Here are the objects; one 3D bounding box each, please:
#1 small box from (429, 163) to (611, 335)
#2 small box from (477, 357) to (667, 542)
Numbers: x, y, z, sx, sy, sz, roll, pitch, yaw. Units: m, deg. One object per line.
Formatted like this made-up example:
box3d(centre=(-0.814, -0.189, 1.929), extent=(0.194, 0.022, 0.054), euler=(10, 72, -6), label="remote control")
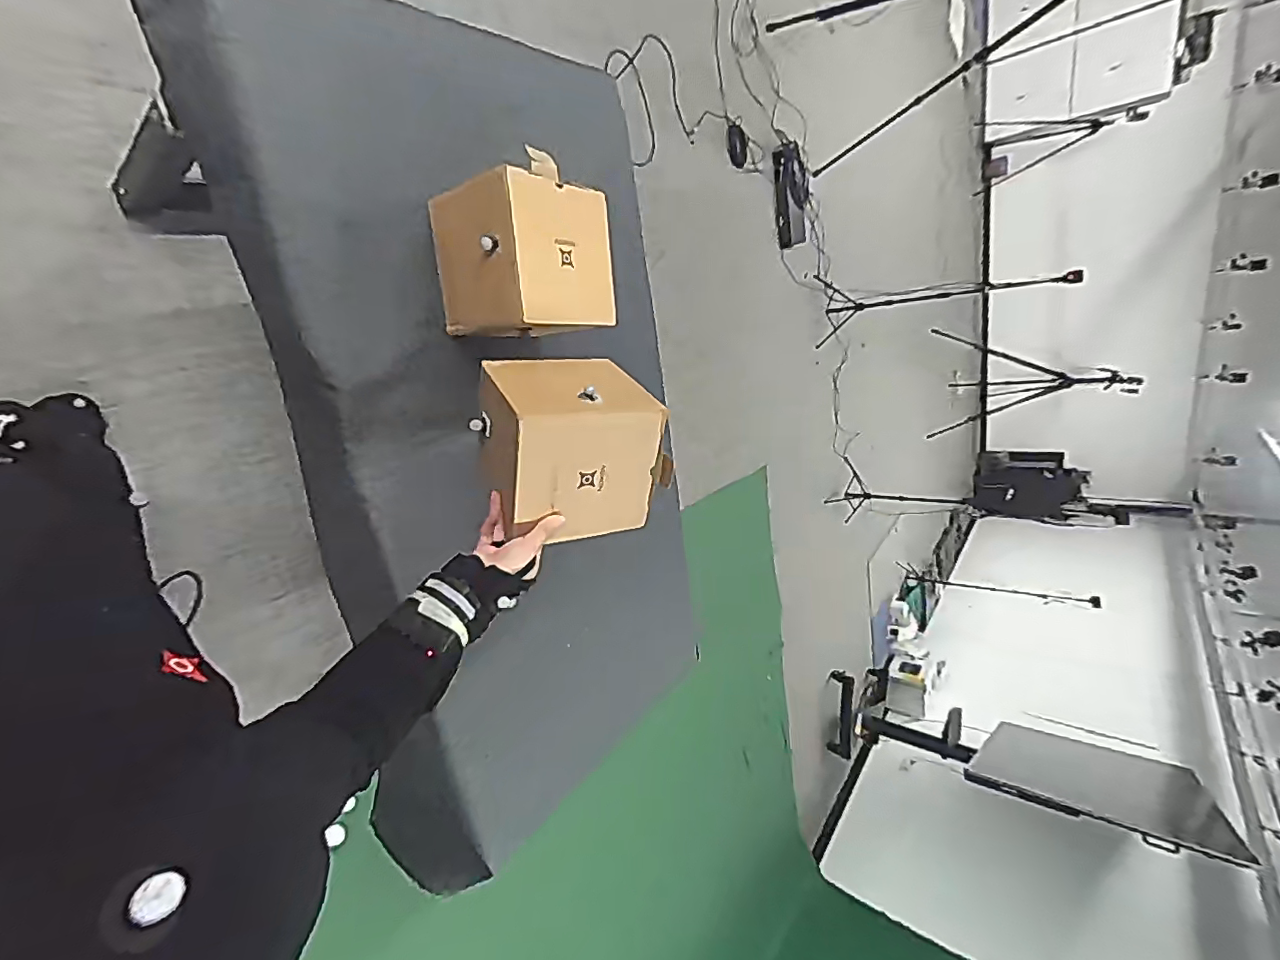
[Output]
box3d(centre=(-0.161, -0.294, 0.734), extent=(0.168, 0.176, 0.179), euler=(-18, 107, -49), label="small box")
box3d(centre=(-0.093, -0.049, 0.677), extent=(0.179, 0.176, 0.168), euler=(-8, 124, -29), label="small box")
